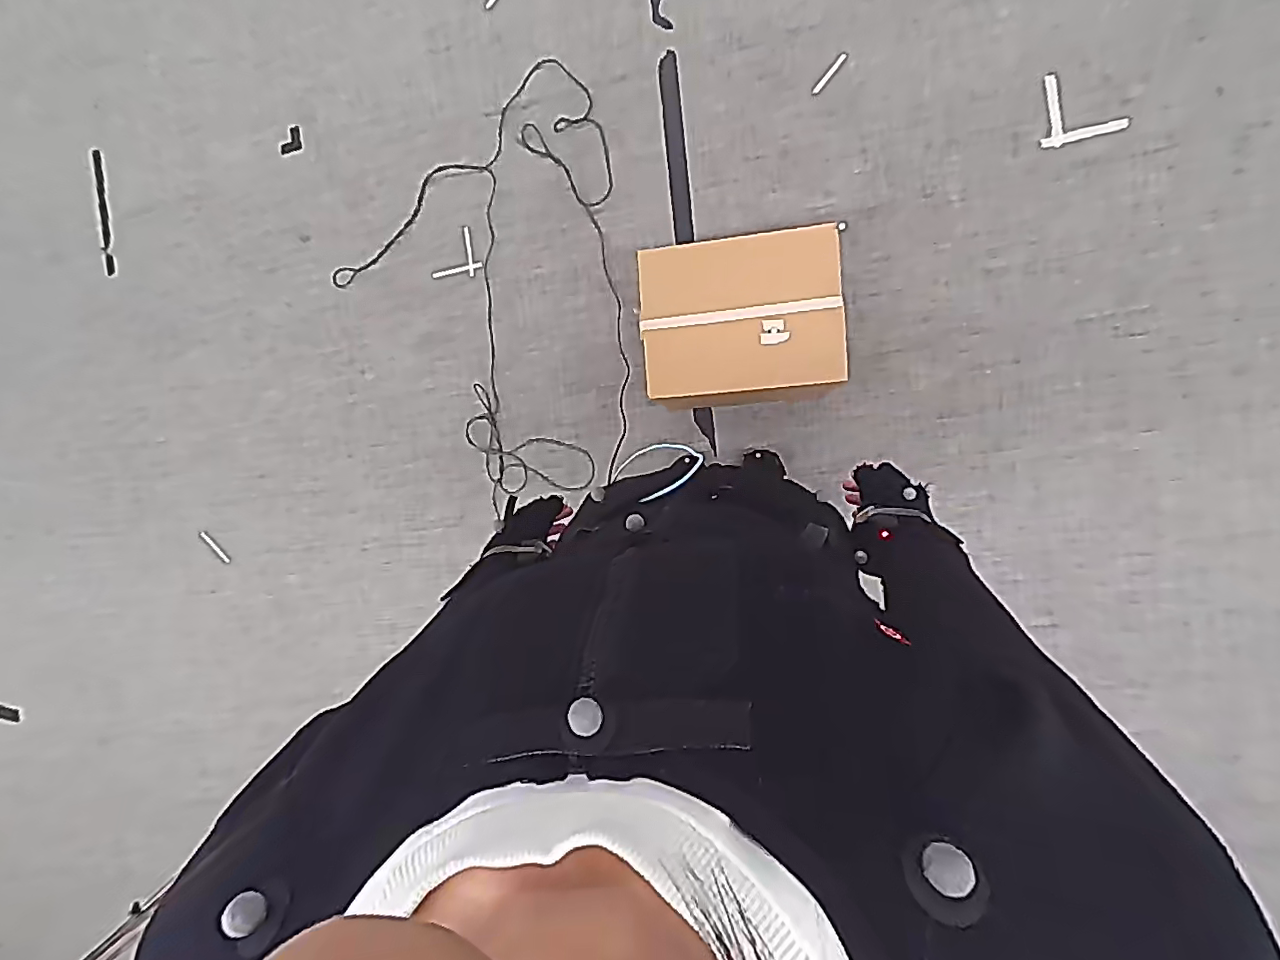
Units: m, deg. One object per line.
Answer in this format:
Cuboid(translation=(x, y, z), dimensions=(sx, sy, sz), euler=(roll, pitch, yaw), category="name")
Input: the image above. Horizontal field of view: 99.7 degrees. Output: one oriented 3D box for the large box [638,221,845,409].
Cuboid(translation=(0.226, -0.351, 1.254), dimensions=(0.408, 0.320, 0.320), euler=(-4, 92, 10), category="large box")
